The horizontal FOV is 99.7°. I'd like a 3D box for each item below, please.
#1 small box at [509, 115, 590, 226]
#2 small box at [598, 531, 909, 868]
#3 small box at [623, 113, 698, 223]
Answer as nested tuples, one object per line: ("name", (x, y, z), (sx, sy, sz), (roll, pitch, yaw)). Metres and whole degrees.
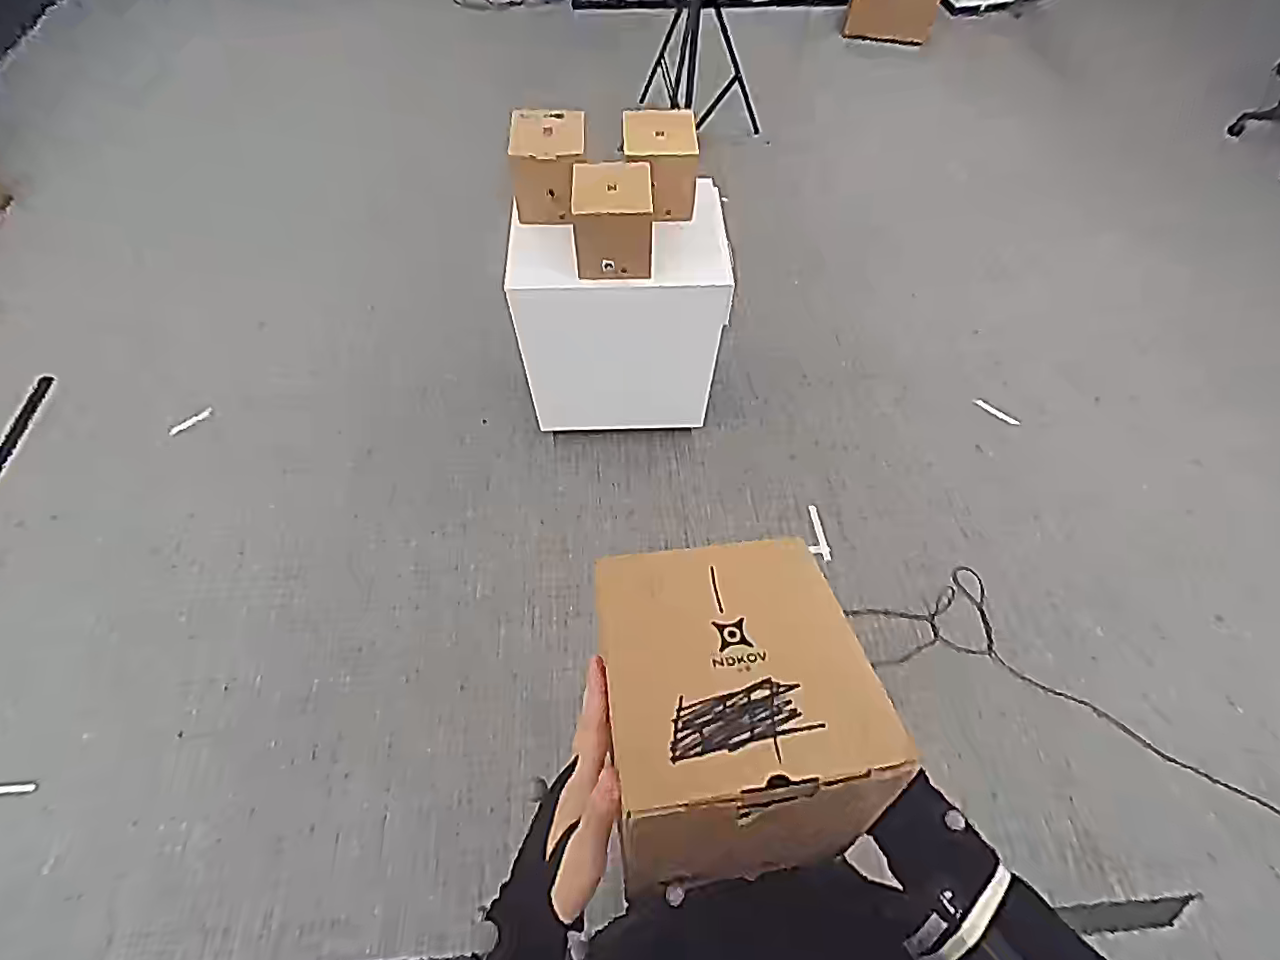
("small box", (-0.205, -0.725, 1.274), (0.168, 0.176, 0.179), (-1, 63, -3))
("small box", (0.060, 0.164, 0.407), (0.168, 0.176, 0.179), (-5, 40, -8))
("small box", (0.045, -0.736, 1.286), (0.168, 0.176, 0.179), (-2, 61, -2))
